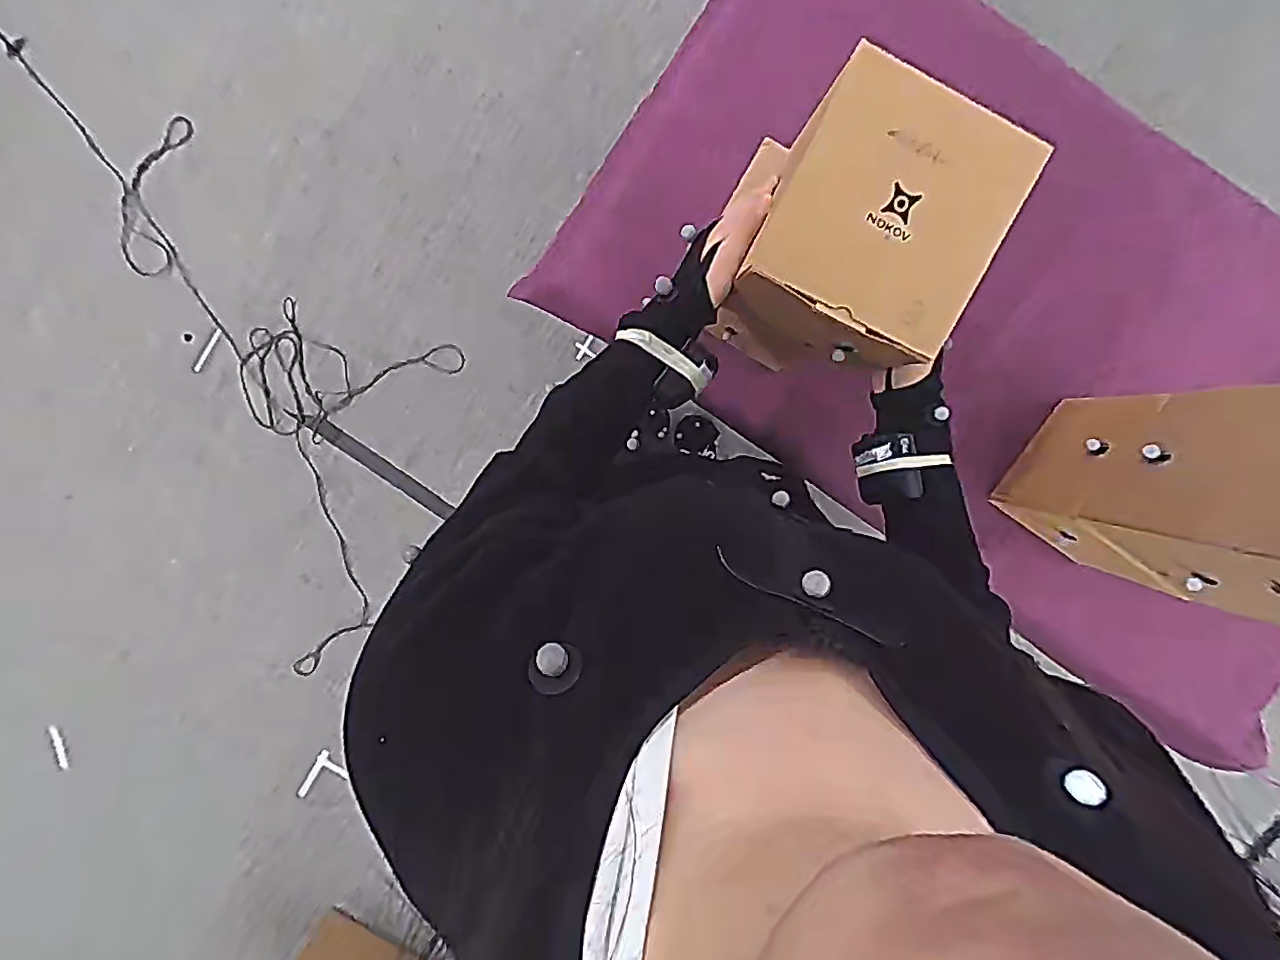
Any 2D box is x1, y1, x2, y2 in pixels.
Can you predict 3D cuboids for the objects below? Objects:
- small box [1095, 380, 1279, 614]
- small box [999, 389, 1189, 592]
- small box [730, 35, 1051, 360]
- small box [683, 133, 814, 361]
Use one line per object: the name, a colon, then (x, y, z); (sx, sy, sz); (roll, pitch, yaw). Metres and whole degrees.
small box: (0.605, 0.020, 0.524); (0.168, 0.176, 0.179); (35, 96, -2)
small box: (0.606, 0.006, 0.687); (0.168, 0.176, 0.179); (34, 95, -2)
small box: (0.193, -0.219, 0.481); (0.168, 0.176, 0.179); (25, 98, -5)
small box: (0.163, -0.264, 0.664); (0.168, 0.176, 0.179); (30, 95, -3)
